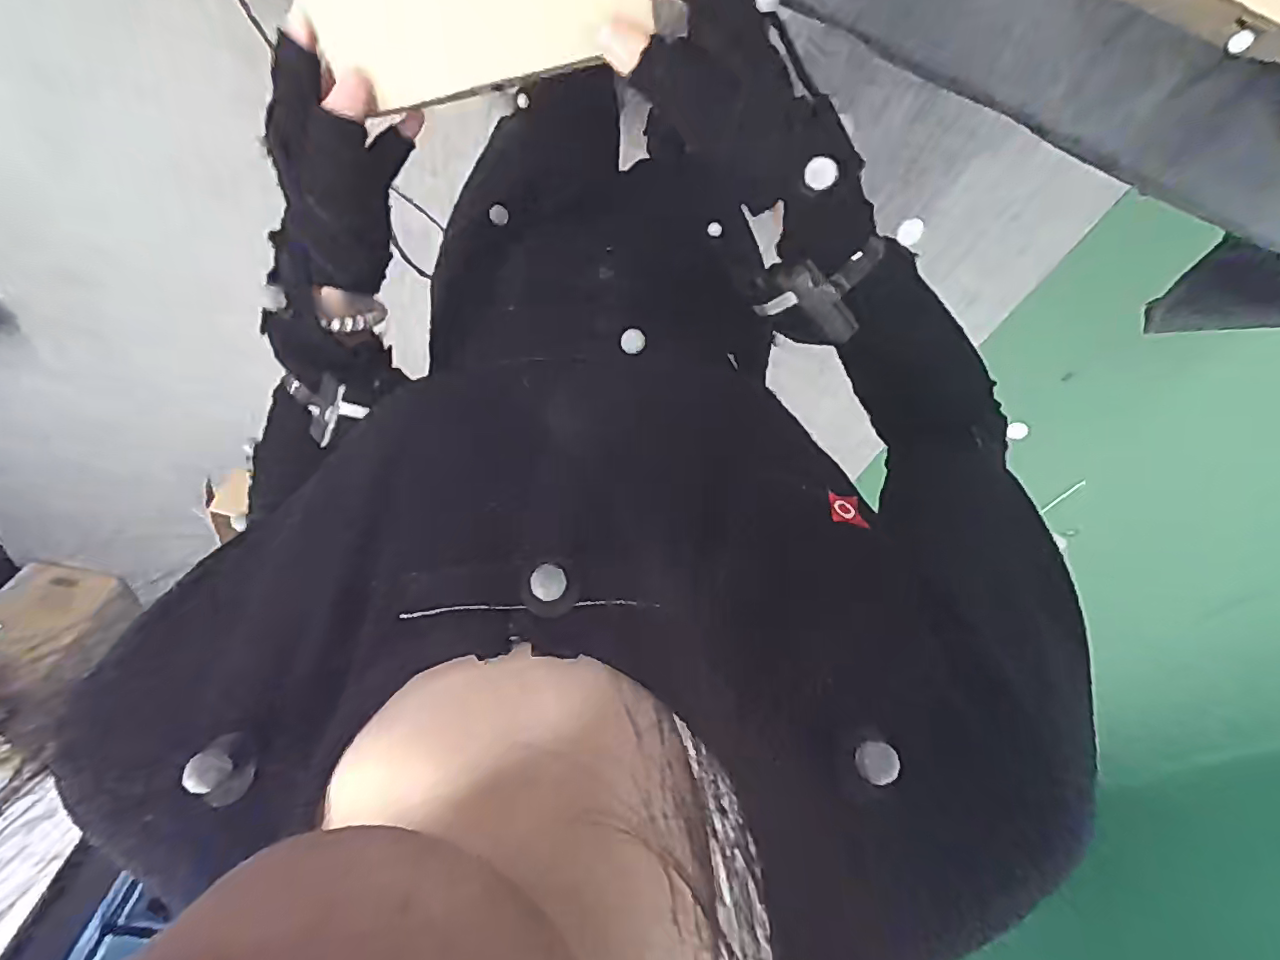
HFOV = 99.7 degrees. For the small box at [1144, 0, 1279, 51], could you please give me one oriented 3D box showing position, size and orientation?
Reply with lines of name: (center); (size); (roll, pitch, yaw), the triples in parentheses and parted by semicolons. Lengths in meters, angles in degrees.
small box: (0.439, -0.377, 0.323); (0.179, 0.176, 0.168); (14, 134, -9)
